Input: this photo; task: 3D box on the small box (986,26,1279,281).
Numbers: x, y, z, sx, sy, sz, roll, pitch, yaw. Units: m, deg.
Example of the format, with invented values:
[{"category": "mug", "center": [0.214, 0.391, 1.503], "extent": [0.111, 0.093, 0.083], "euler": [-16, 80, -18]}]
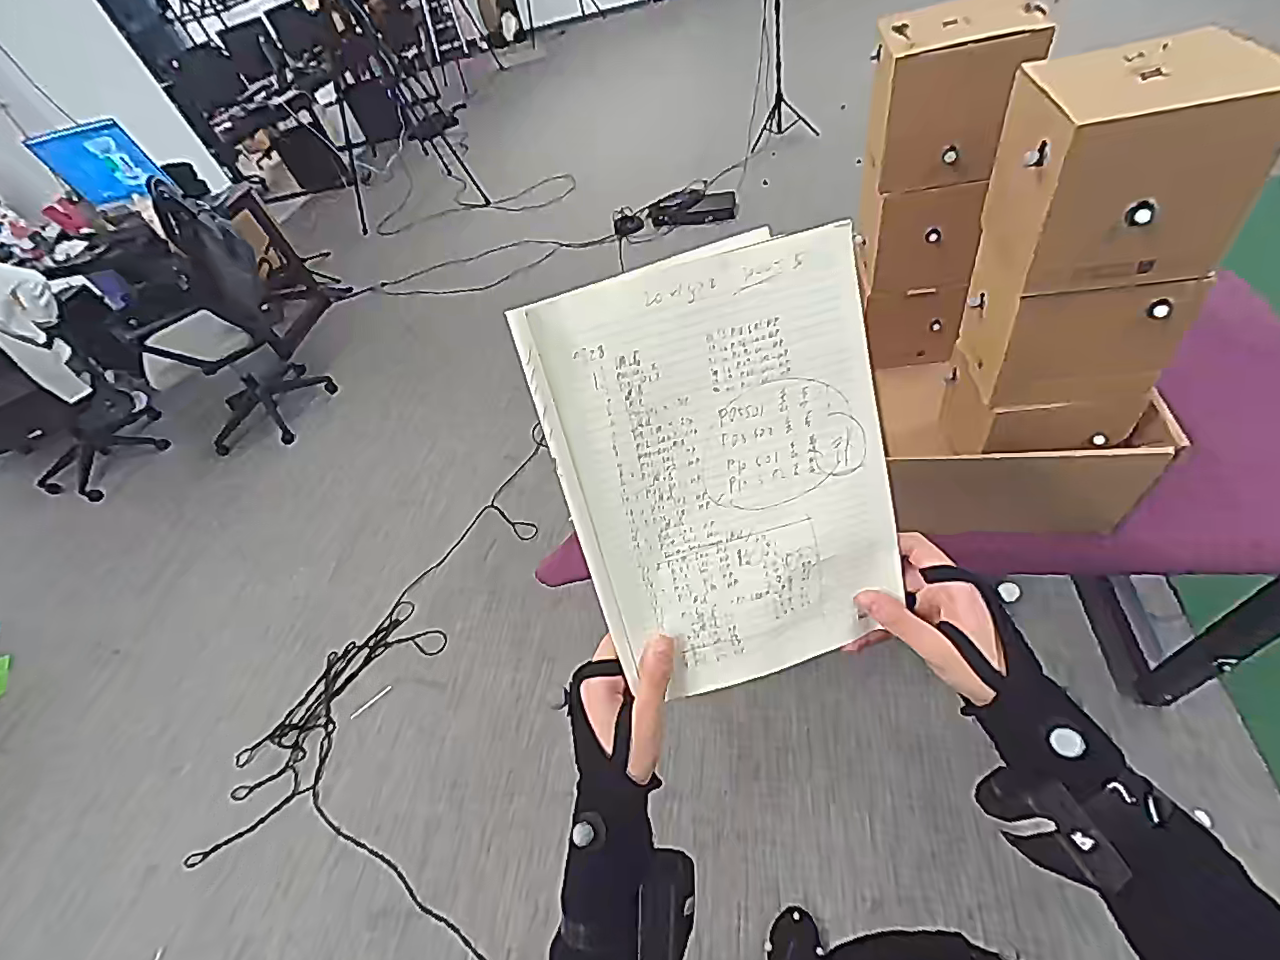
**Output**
[{"category": "small box", "center": [0.481, -0.318, 0.550], "extent": [0.168, 0.176, 0.179], "euler": [-1, 49, 15]}]

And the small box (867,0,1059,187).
[{"category": "small box", "center": [0.426, -0.536, 0.751], "extent": [0.179, 0.176, 0.168], "euler": [0, 52, 14]}]

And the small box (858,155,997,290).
[{"category": "small box", "center": [0.463, -0.432, 0.874], "extent": [0.179, 0.176, 0.168], "euler": [-3, 52, 14]}]

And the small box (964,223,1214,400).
[{"category": "small box", "center": [0.523, -0.213, 0.670], "extent": [0.179, 0.176, 0.168], "euler": [-1, 50, 15]}]
